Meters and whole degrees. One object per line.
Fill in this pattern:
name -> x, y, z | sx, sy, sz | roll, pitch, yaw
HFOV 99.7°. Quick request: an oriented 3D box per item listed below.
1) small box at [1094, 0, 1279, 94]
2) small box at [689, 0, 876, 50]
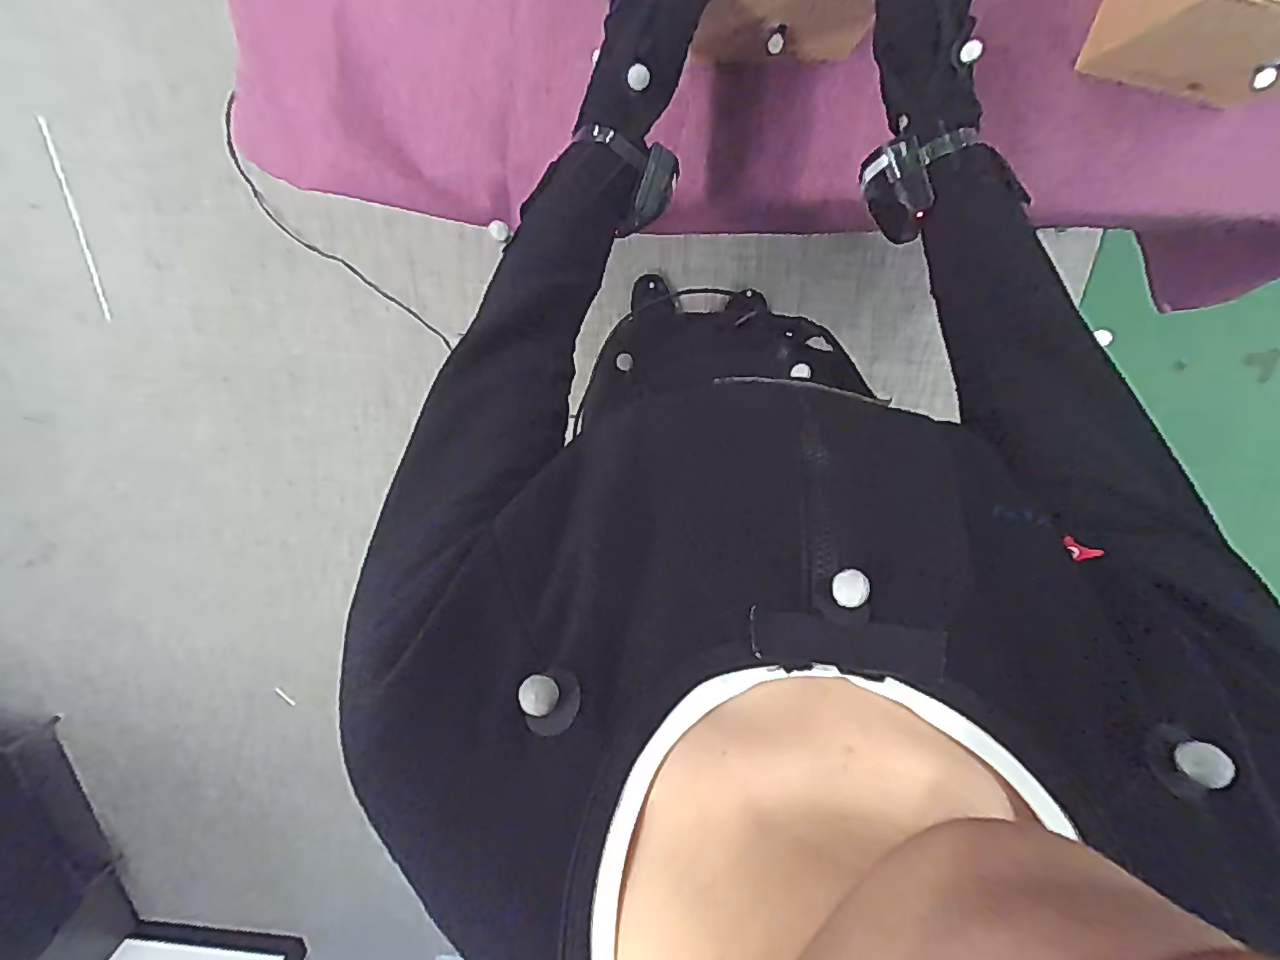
small box -> 0.526, -0.445, 0.434 | 0.168, 0.176, 0.179 | 14, 112, 0
small box -> 0.126, -0.490, 0.454 | 0.168, 0.176, 0.179 | 1, 112, 5
